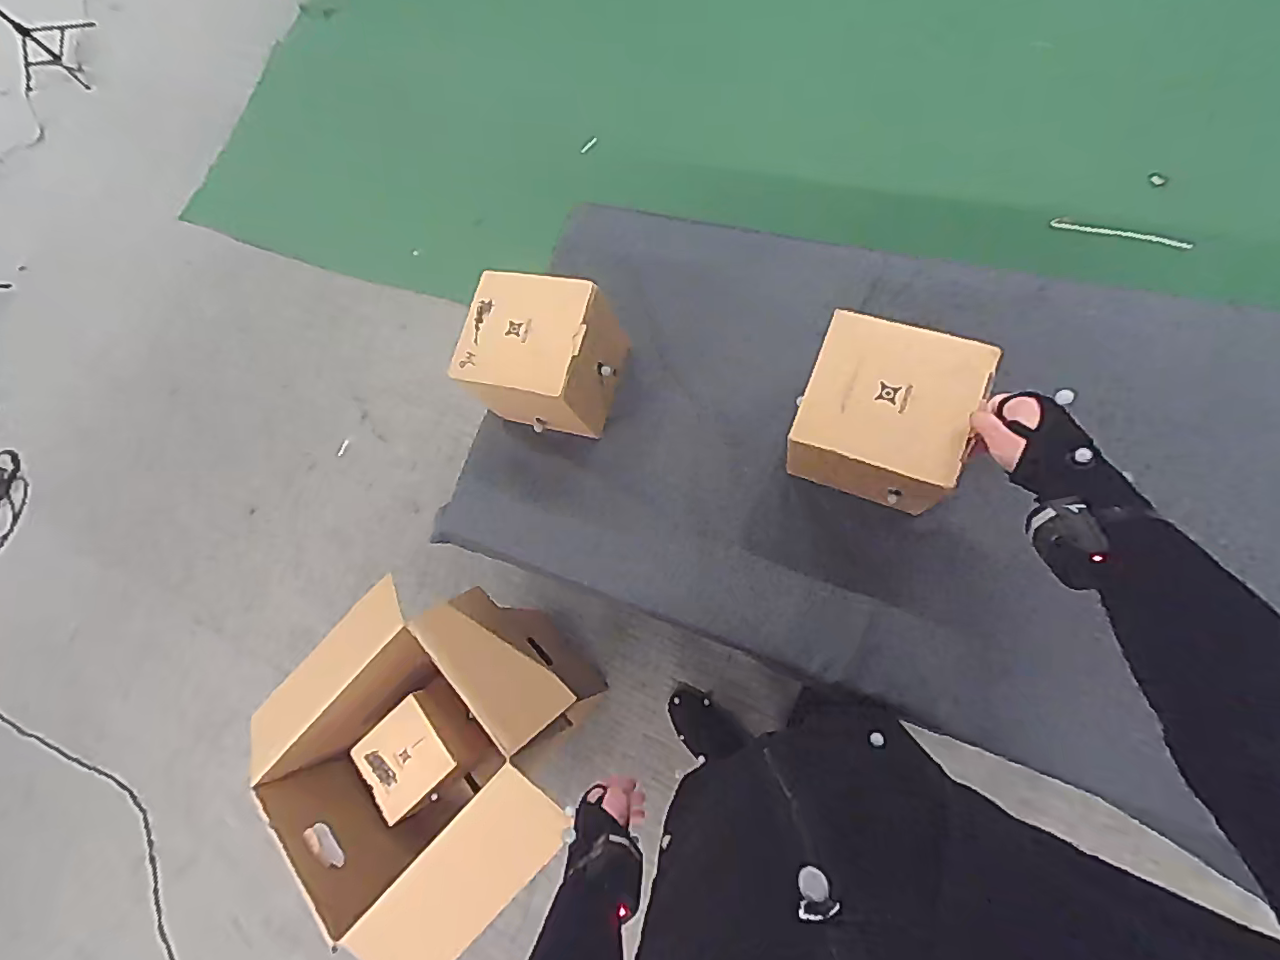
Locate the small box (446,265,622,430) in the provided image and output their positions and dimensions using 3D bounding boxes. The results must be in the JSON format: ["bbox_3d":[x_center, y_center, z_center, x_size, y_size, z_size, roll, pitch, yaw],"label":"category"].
[{"bbox_3d":[-0.141,-0.184,0.791,0.179,0.176,0.168,13,79,16],"label":"small box"}]

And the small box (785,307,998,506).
[{"bbox_3d":[0.289,-0.078,0.658,0.179,0.176,0.168,21,81,19],"label":"small box"}]
